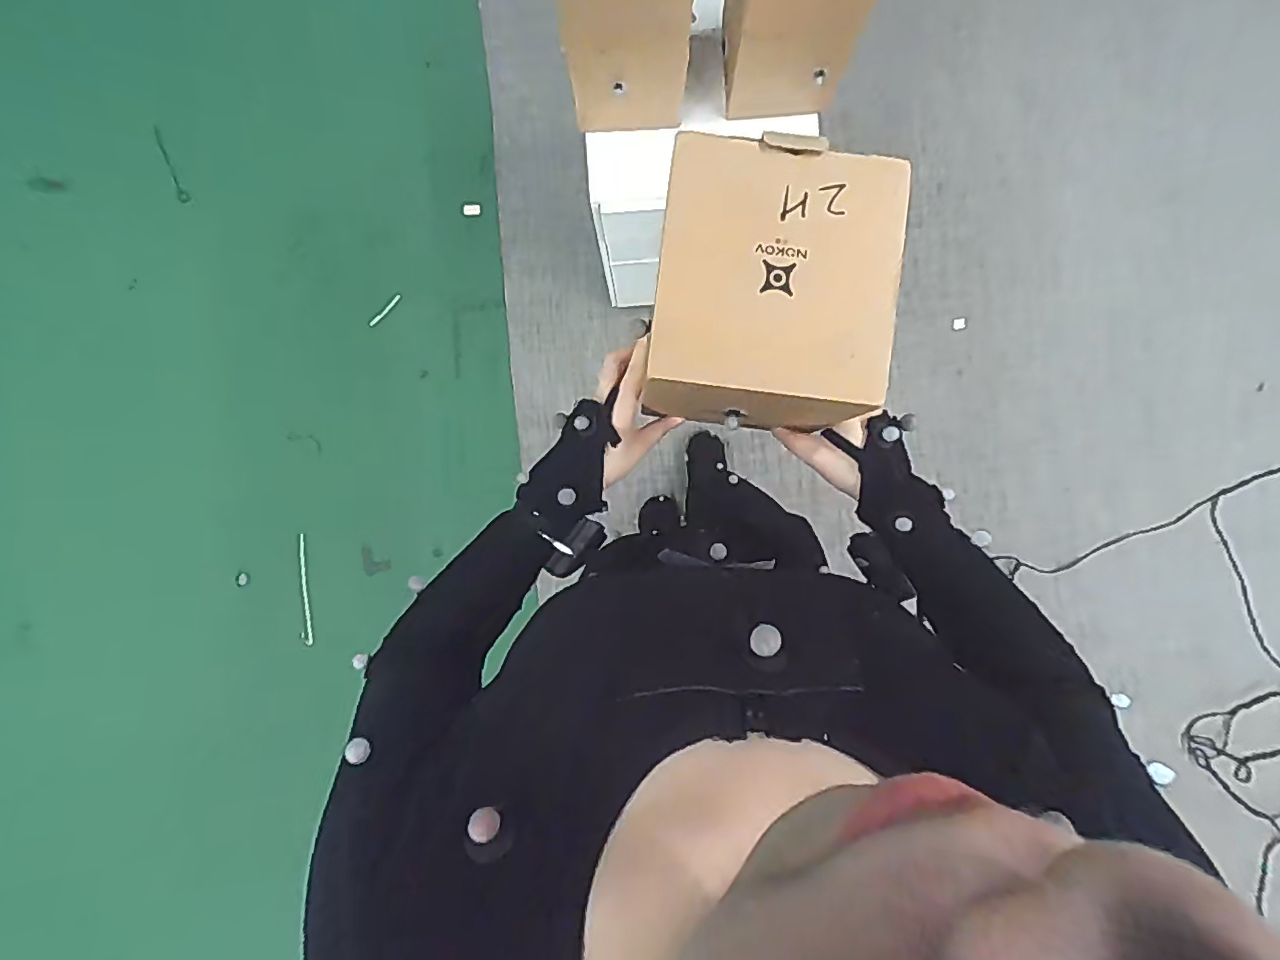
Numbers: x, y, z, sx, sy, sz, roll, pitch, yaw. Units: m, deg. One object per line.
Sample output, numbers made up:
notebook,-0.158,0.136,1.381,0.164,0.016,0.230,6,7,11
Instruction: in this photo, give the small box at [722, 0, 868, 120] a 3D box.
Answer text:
small box,0.226,-0.689,0.827,0.179,0.176,0.168,-4,89,3

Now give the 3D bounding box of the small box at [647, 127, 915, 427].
small box,0.096,-0.144,0.448,0.168,0.176,0.179,7,88,-1

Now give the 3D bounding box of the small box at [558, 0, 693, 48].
small box,-0.021,-0.674,0.664,0.179,0.176,0.168,-4,90,-1

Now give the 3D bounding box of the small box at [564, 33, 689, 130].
small box,-0.020,-0.670,0.829,0.179,0.176,0.168,-3,91,0
